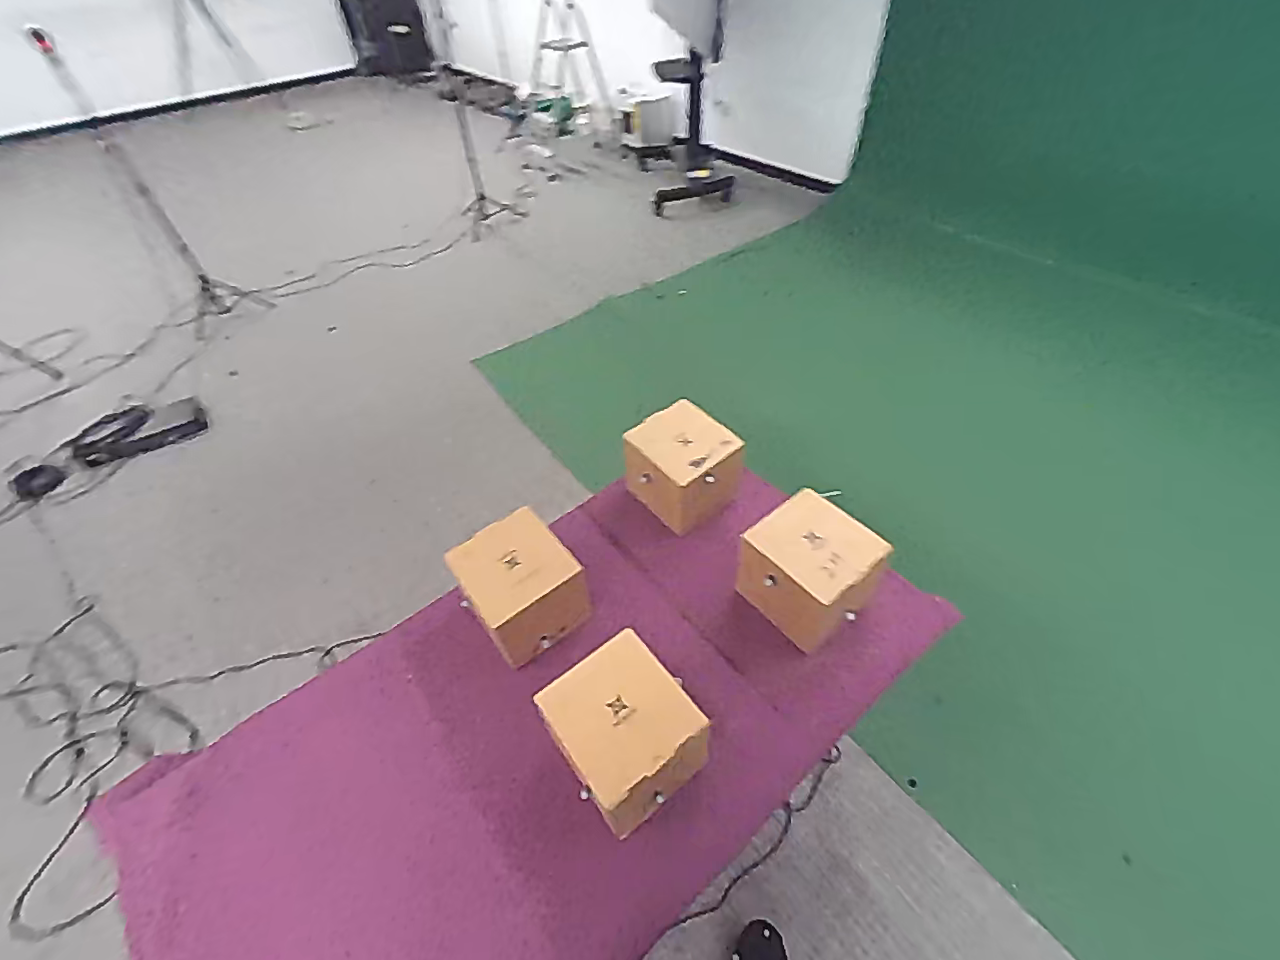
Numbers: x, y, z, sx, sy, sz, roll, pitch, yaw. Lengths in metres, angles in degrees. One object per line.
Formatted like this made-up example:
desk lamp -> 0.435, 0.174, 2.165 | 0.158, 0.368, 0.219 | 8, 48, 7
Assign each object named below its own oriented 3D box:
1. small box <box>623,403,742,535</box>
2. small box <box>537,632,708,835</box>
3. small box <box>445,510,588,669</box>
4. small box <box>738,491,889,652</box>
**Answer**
small box -> 0.083, -0.020, 1.109 | 0.168, 0.176, 0.179 | -34, 56, -22
small box -> -0.023, 0.361, 0.772 | 0.168, 0.176, 0.179 | -31, 52, -24
small box -> -0.208, 0.191, 0.938 | 0.168, 0.176, 0.179 | -32, 55, -23
small box -> 0.286, 0.159, 0.934 | 0.168, 0.176, 0.179 | -32, 52, -22
